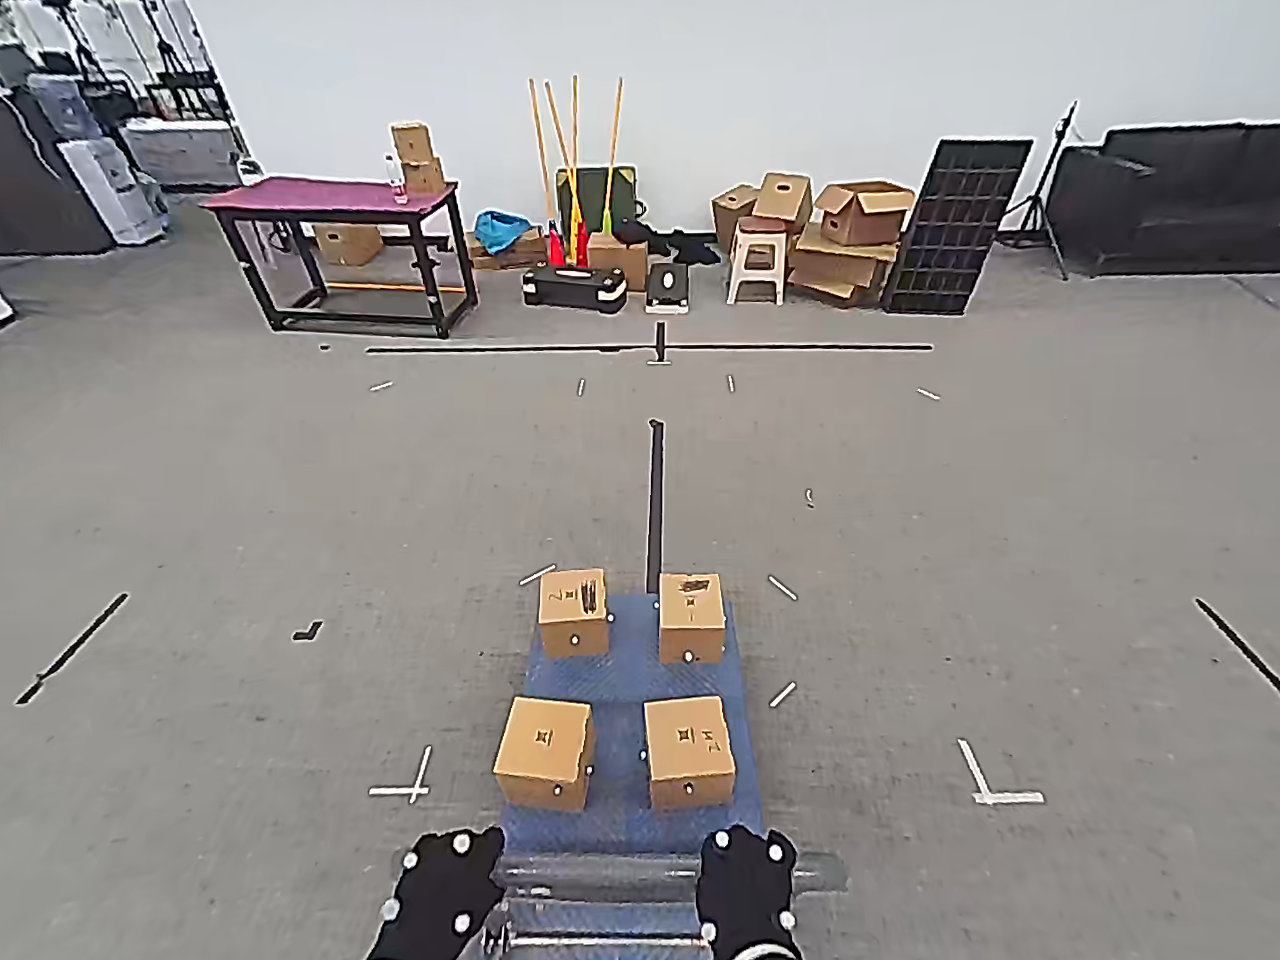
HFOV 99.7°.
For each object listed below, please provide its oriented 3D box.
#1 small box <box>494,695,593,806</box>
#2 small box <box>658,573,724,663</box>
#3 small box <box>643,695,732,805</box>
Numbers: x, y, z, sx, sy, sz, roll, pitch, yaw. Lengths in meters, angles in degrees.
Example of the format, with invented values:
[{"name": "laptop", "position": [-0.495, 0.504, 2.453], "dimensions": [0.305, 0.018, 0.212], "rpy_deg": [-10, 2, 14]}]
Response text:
[{"name": "small box", "position": [-0.207, 0.609, 1.215], "dimensions": [0.179, 0.176, 0.168], "rpy_deg": [5, 40, 4]}, {"name": "small box", "position": [0.134, 0.377, 1.480], "dimensions": [0.168, 0.176, 0.179], "rpy_deg": [0, 41, 2]}, {"name": "small box", "position": [0.101, 0.607, 1.211], "dimensions": [0.179, 0.176, 0.168], "rpy_deg": [-4, 41, -3]}]
